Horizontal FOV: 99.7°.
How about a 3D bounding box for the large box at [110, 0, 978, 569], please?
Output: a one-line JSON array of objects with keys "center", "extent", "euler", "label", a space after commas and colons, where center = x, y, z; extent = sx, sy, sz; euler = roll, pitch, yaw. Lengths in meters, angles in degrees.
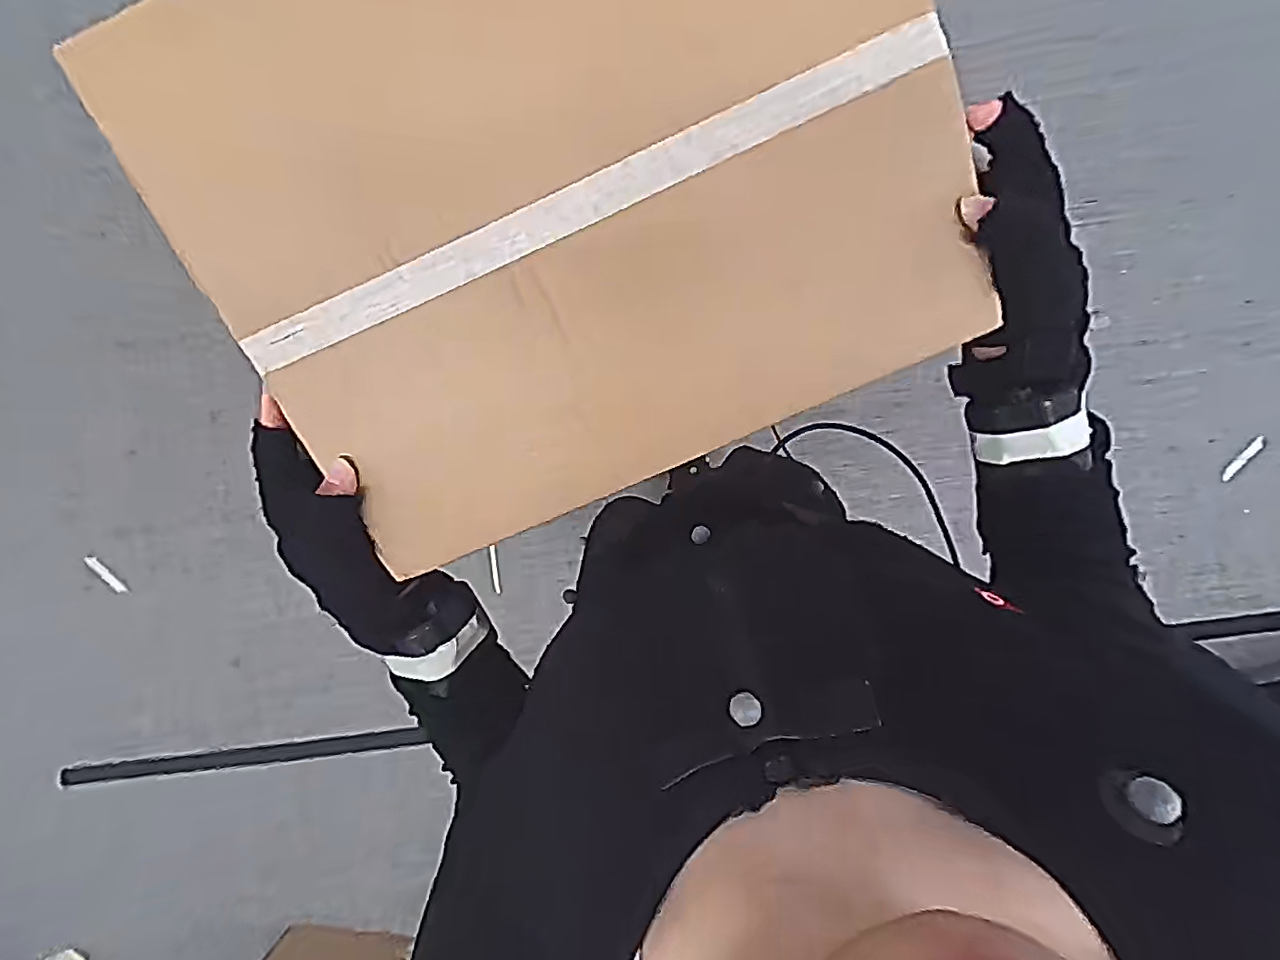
[{"center": [-0.036, -0.194, 0.443], "extent": [0.408, 0.320, 0.320], "euler": [-23, 107, 4], "label": "large box"}]
